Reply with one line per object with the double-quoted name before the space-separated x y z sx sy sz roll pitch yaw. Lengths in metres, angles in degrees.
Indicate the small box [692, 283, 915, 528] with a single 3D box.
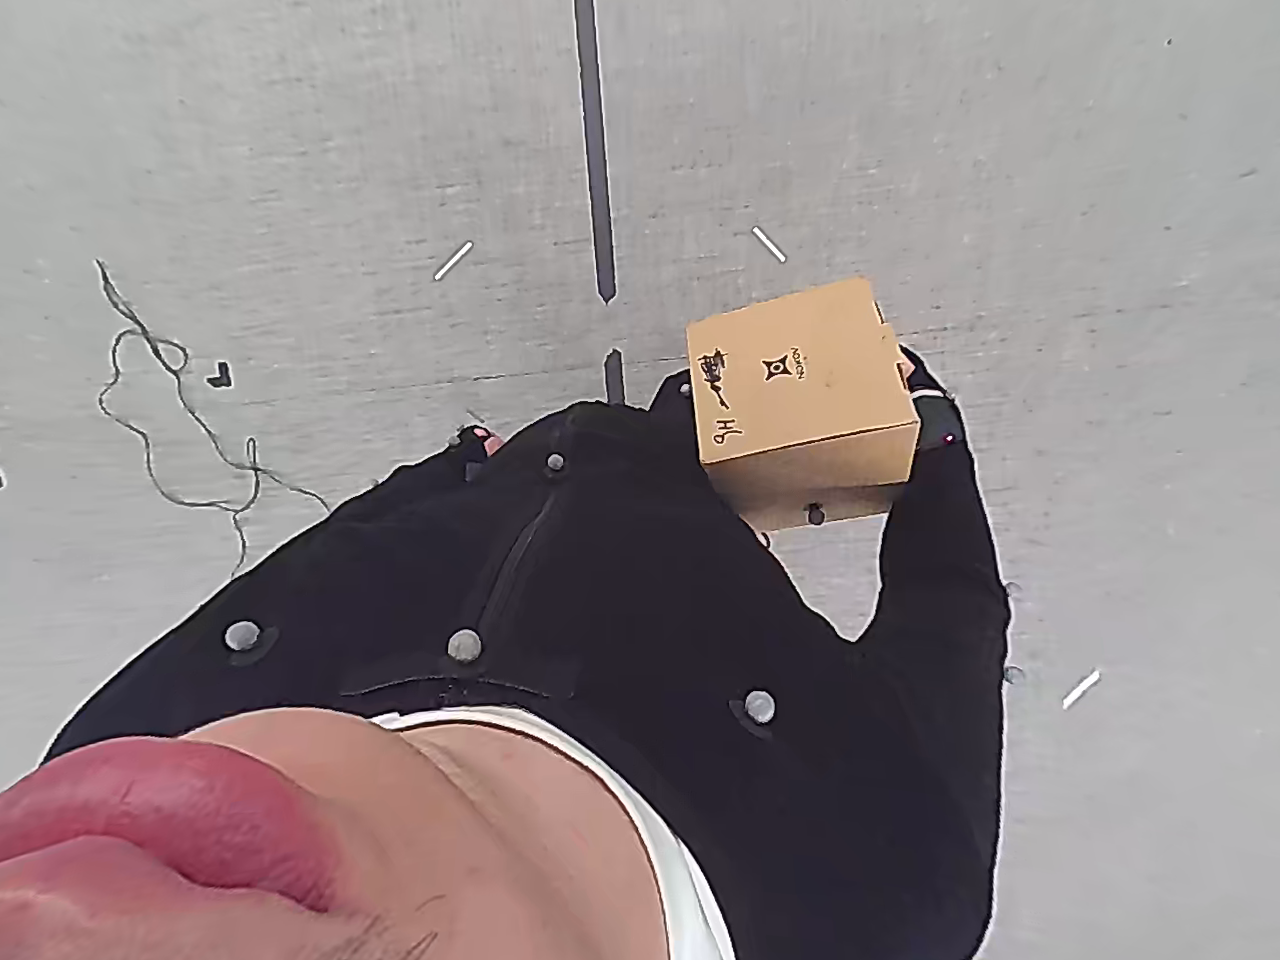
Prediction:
"small box" 0.161 -0.065 0.560 0.179 0.176 0.168 -11 59 15
